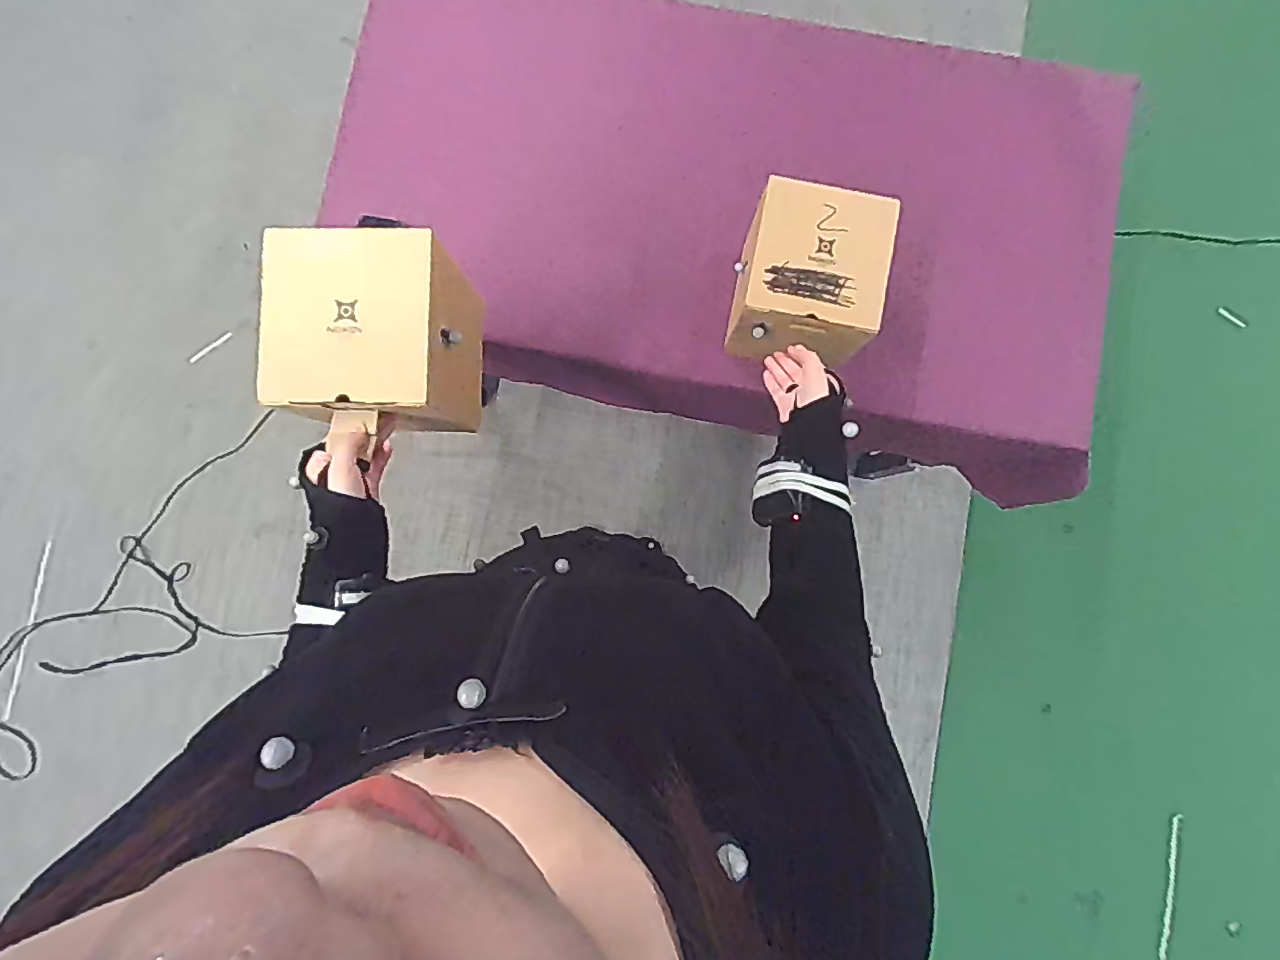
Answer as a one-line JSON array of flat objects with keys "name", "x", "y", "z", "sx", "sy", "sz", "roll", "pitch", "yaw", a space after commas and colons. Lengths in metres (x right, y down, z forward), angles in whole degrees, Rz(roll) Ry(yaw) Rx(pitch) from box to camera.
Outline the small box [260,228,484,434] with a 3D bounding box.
[{"name": "small box", "x": -0.279, "y": -0.152, "z": 0.600, "sx": 0.168, "sy": 0.176, "sz": 0.179, "roll": 1, "pitch": 87, "yaw": 0}]
